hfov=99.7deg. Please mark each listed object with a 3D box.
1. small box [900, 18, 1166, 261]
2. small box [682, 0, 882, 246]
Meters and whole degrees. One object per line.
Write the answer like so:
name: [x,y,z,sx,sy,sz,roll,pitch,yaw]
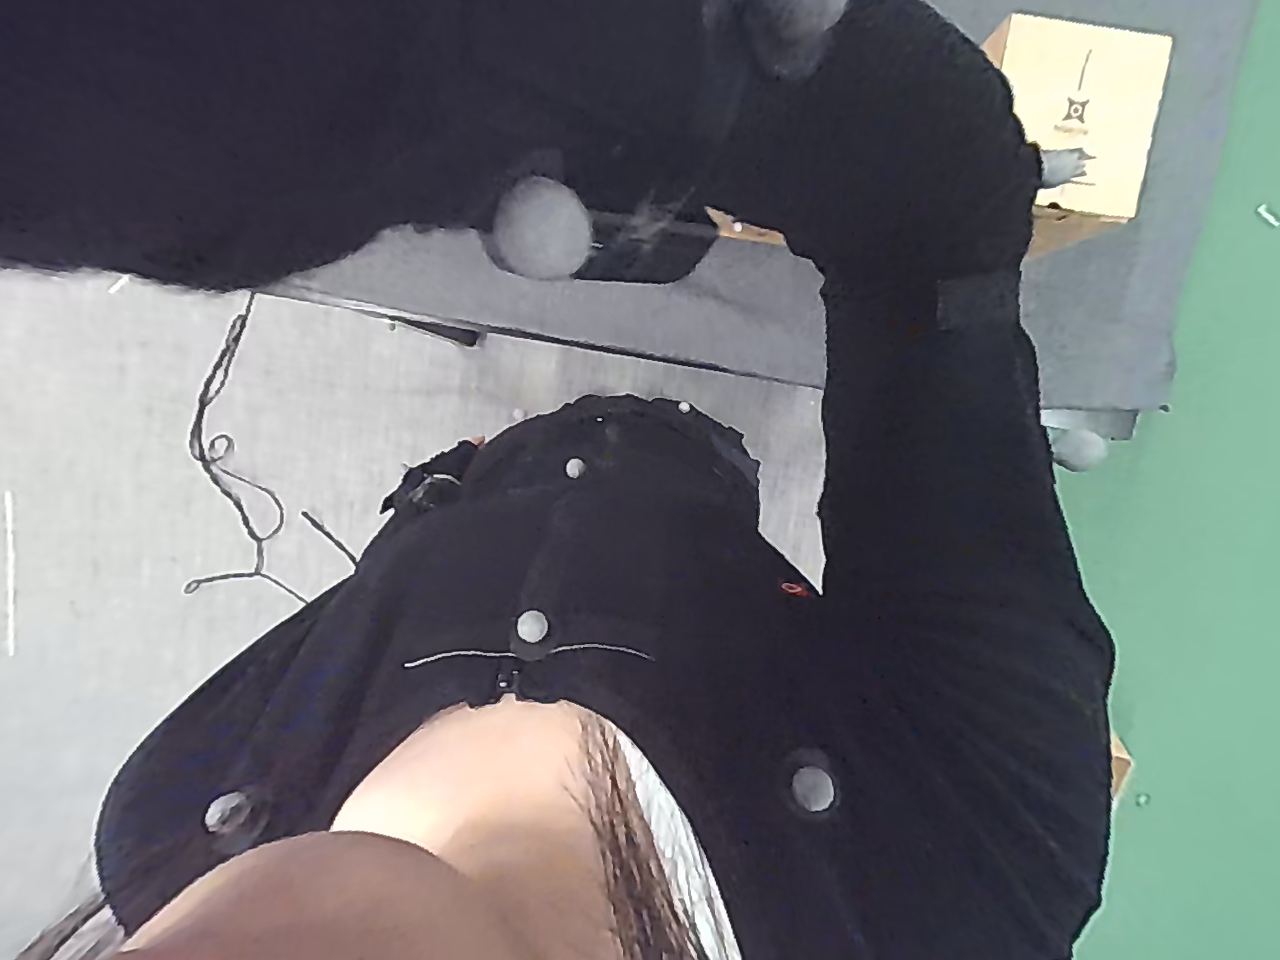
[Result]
small box: [0.427,-0.368,0.622,0.168,0.176,0.179,7,97,-2]
small box: [0.145,-0.392,0.617,0.168,0.176,0.179,7,98,-2]
